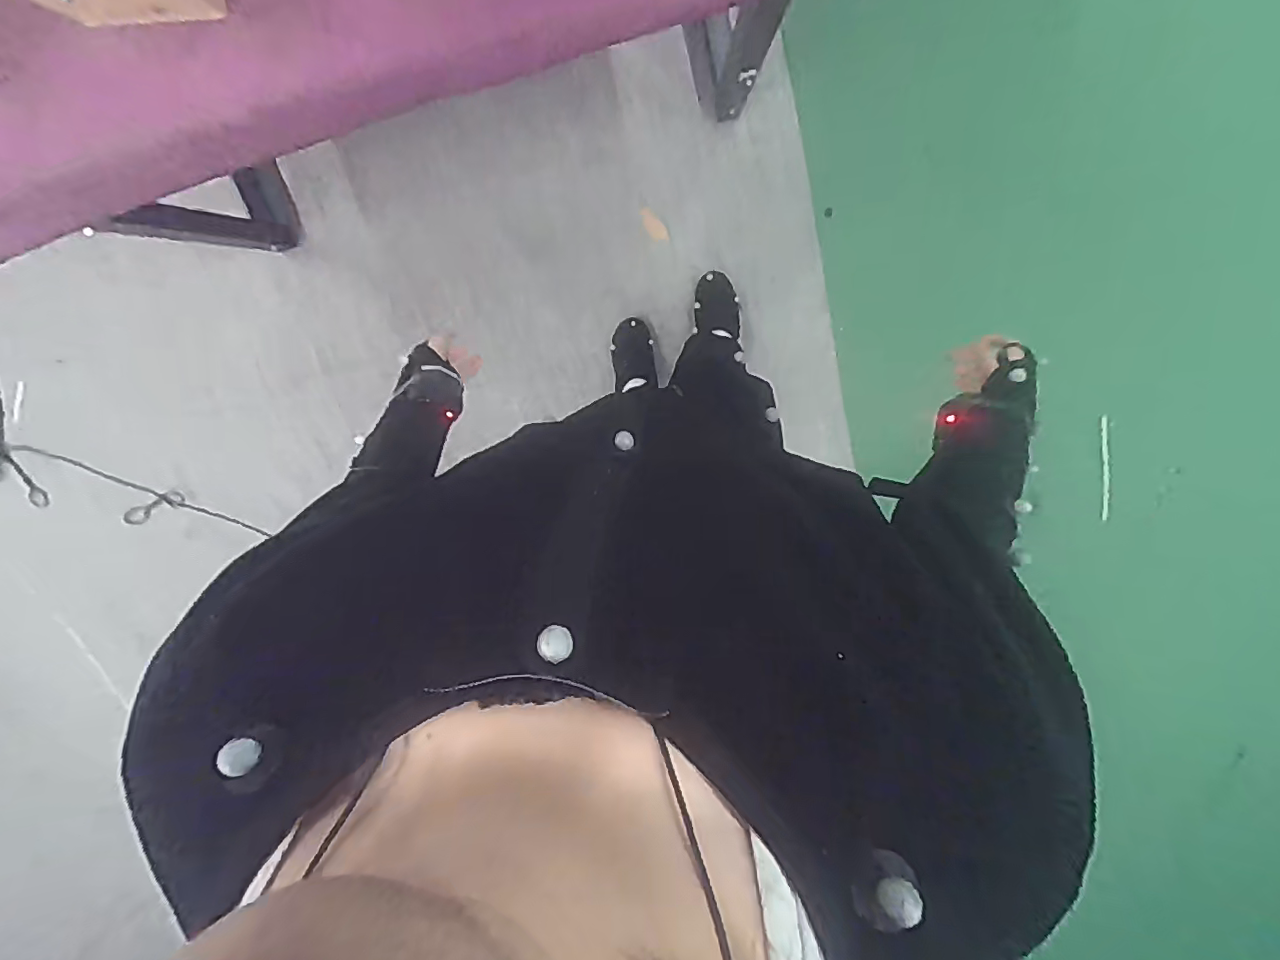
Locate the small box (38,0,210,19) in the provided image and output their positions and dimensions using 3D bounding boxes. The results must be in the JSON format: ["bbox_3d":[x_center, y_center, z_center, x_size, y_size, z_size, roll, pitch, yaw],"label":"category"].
[{"bbox_3d":[-0.554,-0.567,0.501,0.168,0.176,0.179,-2,108,2],"label":"small box"}]
